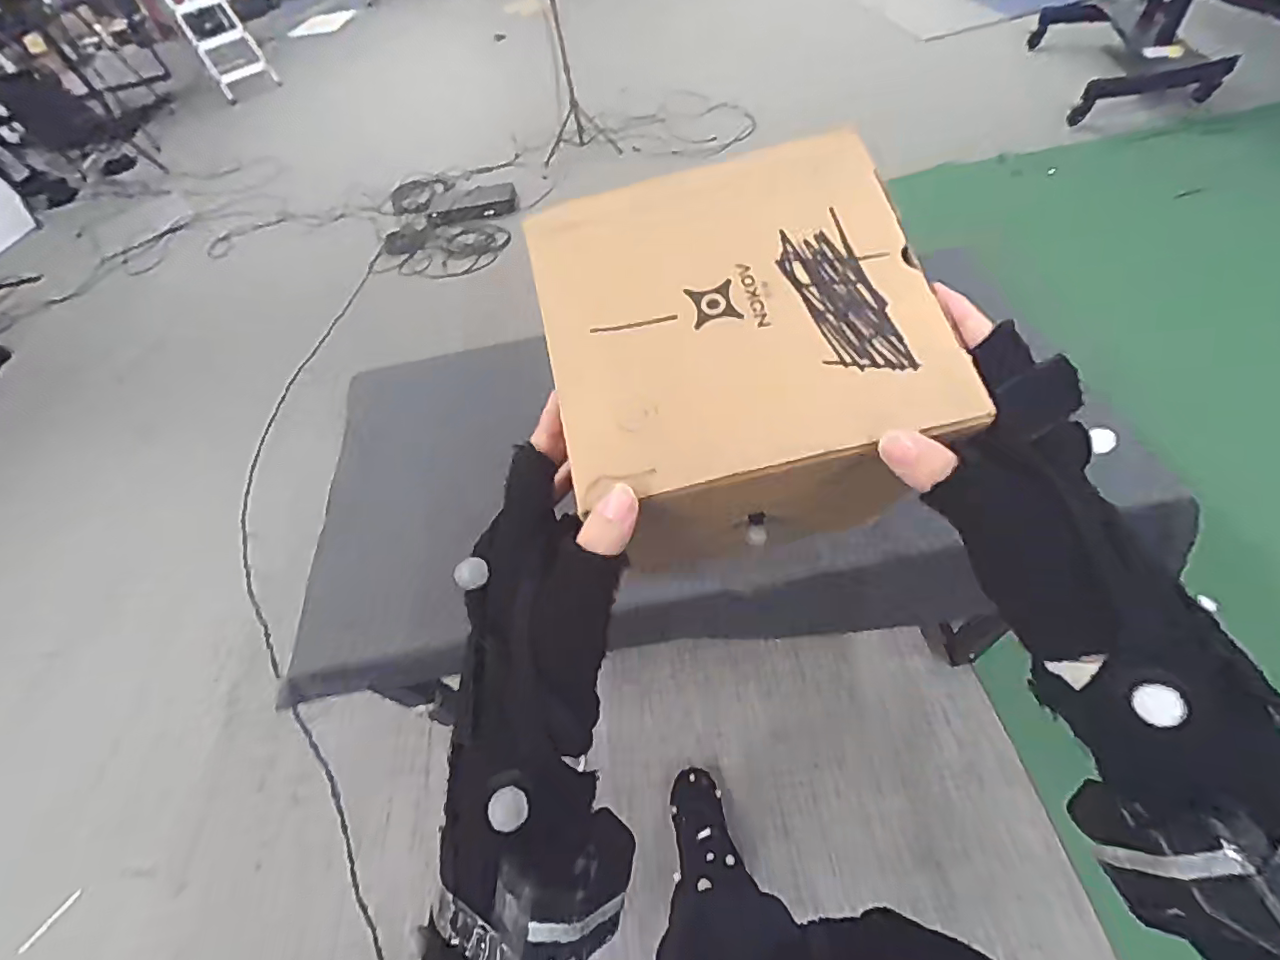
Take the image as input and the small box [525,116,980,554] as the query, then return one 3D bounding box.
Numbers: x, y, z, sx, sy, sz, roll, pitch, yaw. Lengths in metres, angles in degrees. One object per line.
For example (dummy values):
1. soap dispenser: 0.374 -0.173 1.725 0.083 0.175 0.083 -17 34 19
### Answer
1. small box: 0.048 -0.063 0.323 0.179 0.176 0.168 -13 71 2
